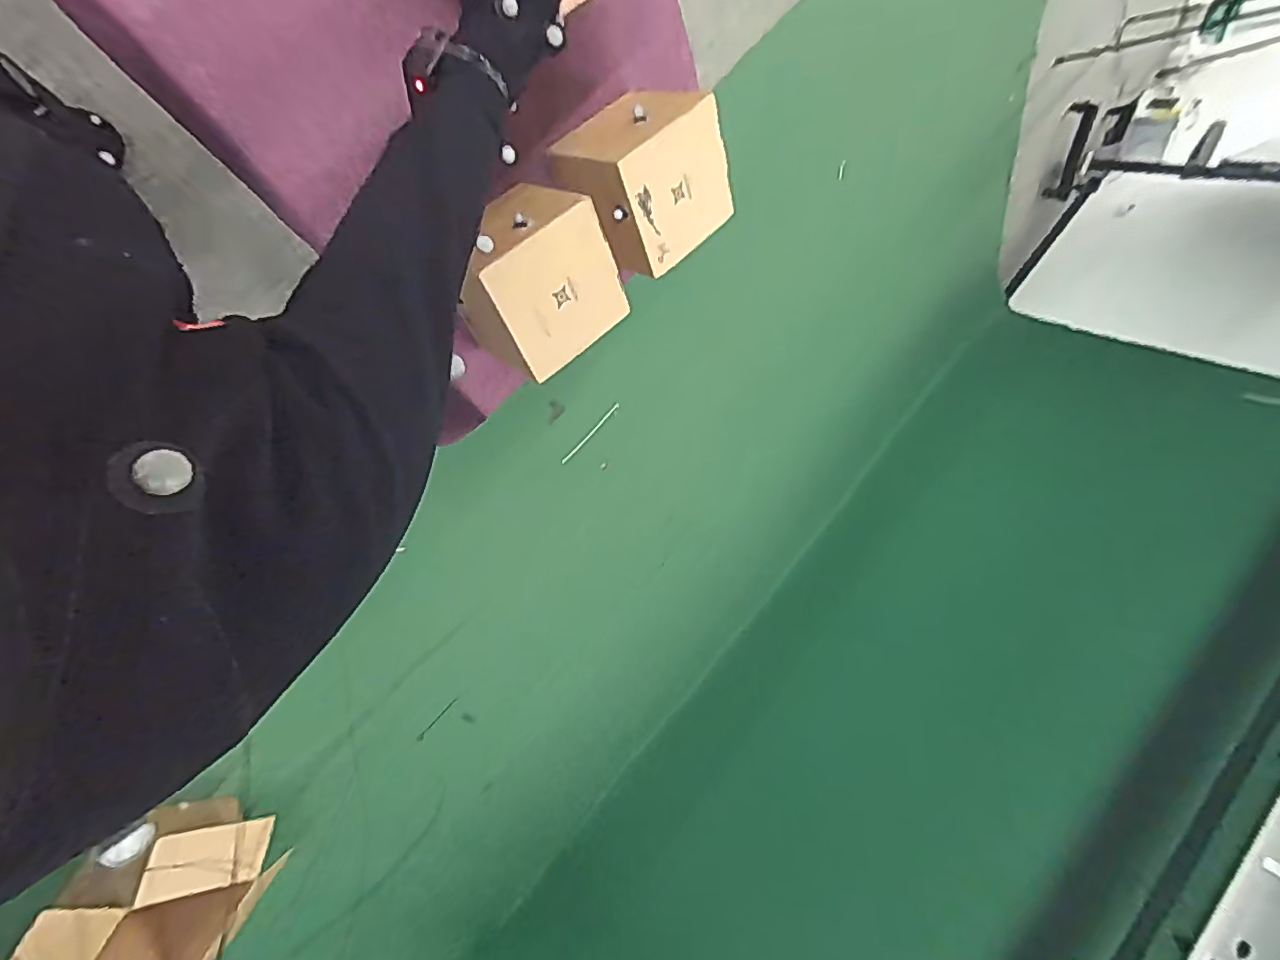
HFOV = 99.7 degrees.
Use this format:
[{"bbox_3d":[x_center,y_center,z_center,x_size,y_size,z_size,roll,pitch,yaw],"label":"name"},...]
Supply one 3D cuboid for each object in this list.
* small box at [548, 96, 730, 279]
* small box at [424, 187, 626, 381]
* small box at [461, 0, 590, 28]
[{"bbox_3d":[0.002,-0.427,0.780,0.179,0.176,0.168,-44,141,-15],"label":"small box"},{"bbox_3d":[-0.153,-0.271,0.732,0.179,0.176,0.168,-42,140,-17],"label":"small box"},{"bbox_3d":[-0.105,-0.591,0.537,0.179,0.176,0.168,-46,142,-11],"label":"small box"}]
